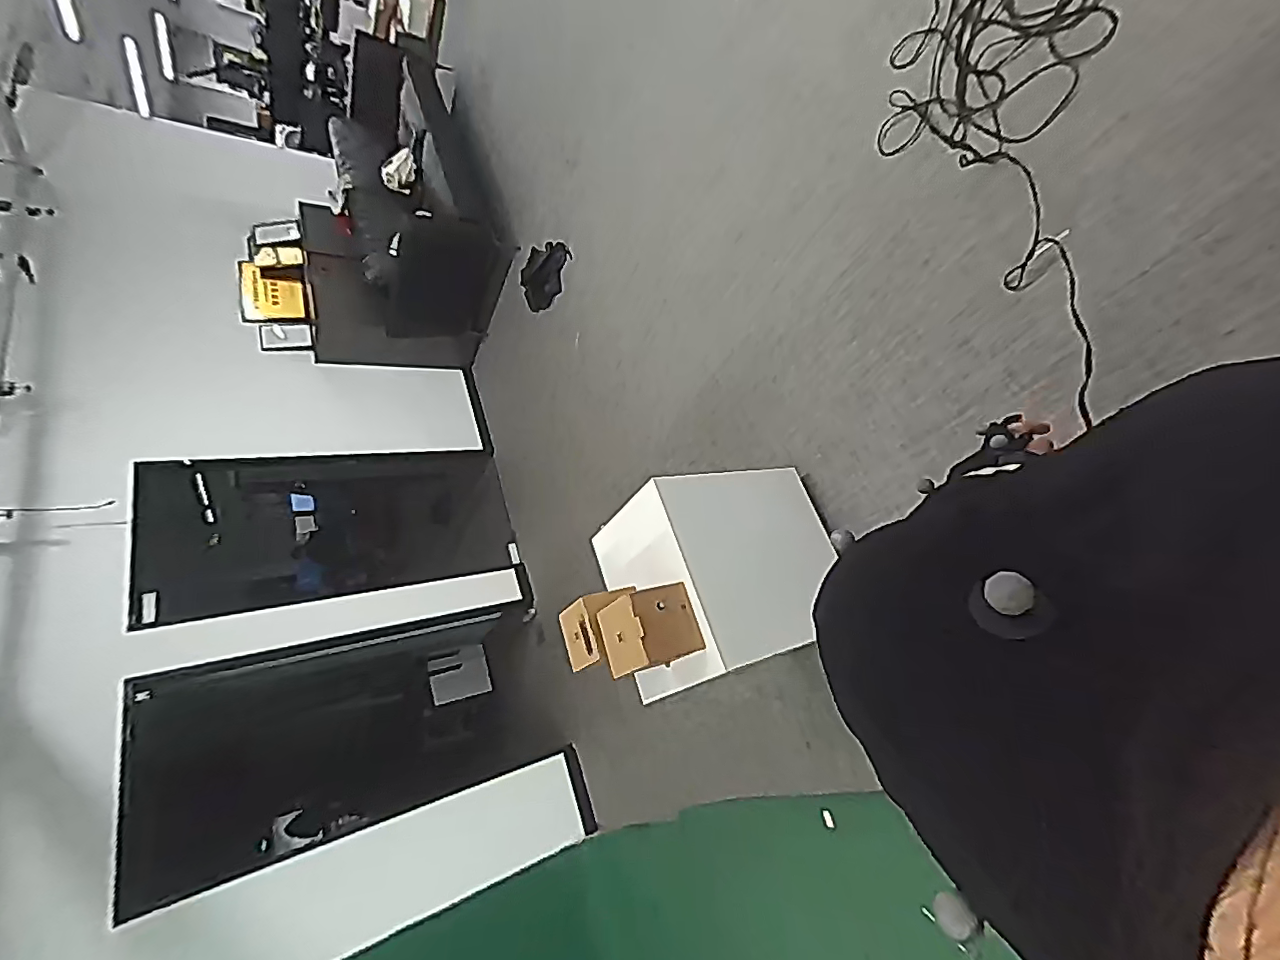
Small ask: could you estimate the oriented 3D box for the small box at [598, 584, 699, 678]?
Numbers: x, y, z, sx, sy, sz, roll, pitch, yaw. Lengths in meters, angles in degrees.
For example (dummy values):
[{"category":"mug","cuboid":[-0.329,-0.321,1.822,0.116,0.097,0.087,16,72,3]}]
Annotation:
[{"category":"small box","cuboid":[0.025,0.360,1.301,0.179,0.176,0.168,-46,55,49]}]
